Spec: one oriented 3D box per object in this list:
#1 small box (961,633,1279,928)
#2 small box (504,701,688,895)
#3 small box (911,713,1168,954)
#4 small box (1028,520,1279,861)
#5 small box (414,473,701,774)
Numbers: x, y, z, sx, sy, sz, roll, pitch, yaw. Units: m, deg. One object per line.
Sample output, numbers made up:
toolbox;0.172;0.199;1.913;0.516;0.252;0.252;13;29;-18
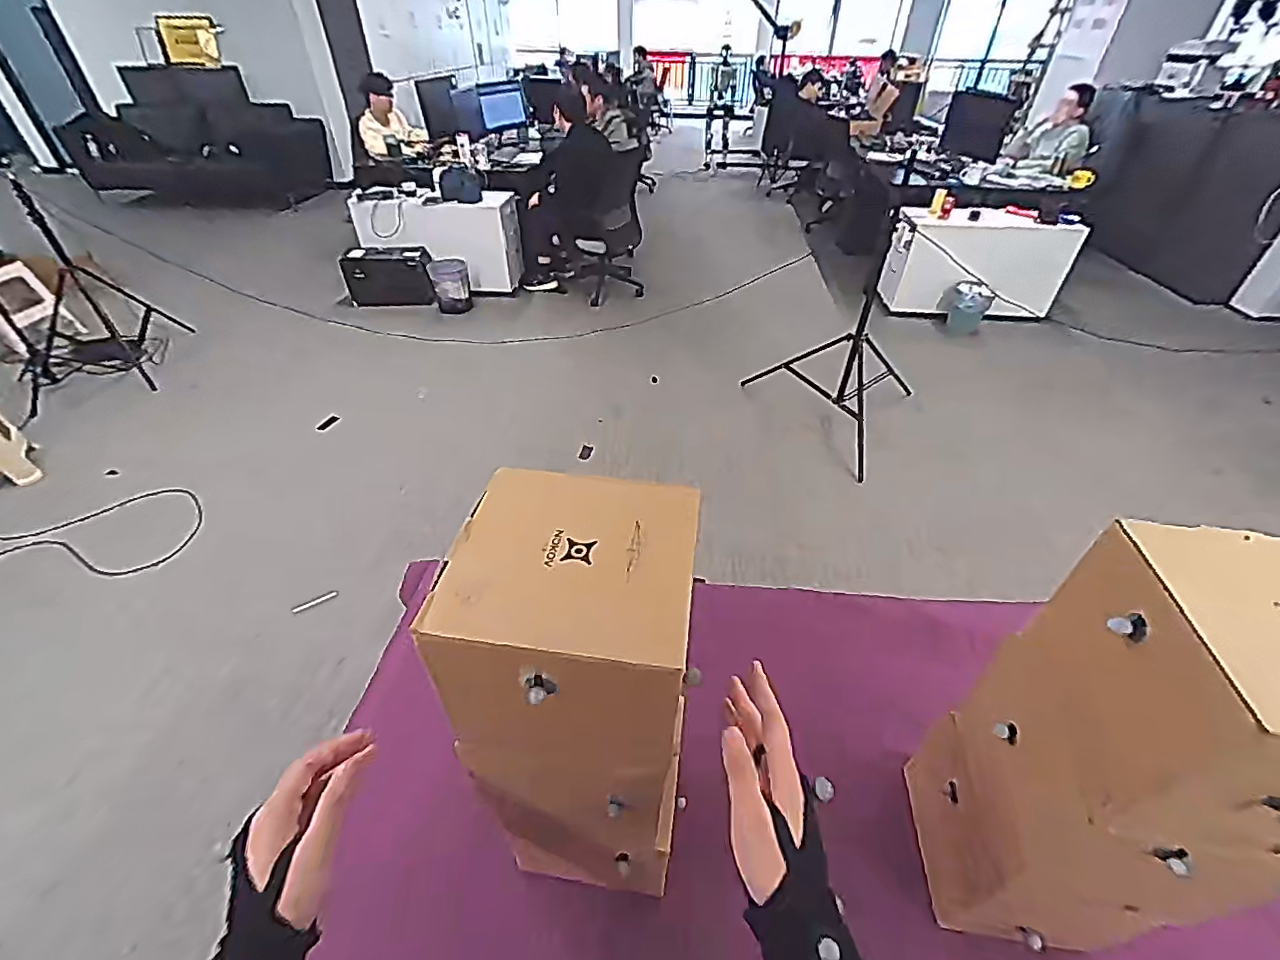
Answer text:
small box;0.434;0.276;0.509;0.168;0.176;0.179;7;39;8
small box;-0.042;0.368;0.649;0.179;0.176;0.168;6;39;7
small box;0.434;0.399;0.617;0.168;0.176;0.179;5;40;6
small box;0.435;0.156;0.399;0.168;0.176;0.179;6;40;8
small box;-0.048;0.116;0.442;0.179;0.176;0.168;6;41;5
